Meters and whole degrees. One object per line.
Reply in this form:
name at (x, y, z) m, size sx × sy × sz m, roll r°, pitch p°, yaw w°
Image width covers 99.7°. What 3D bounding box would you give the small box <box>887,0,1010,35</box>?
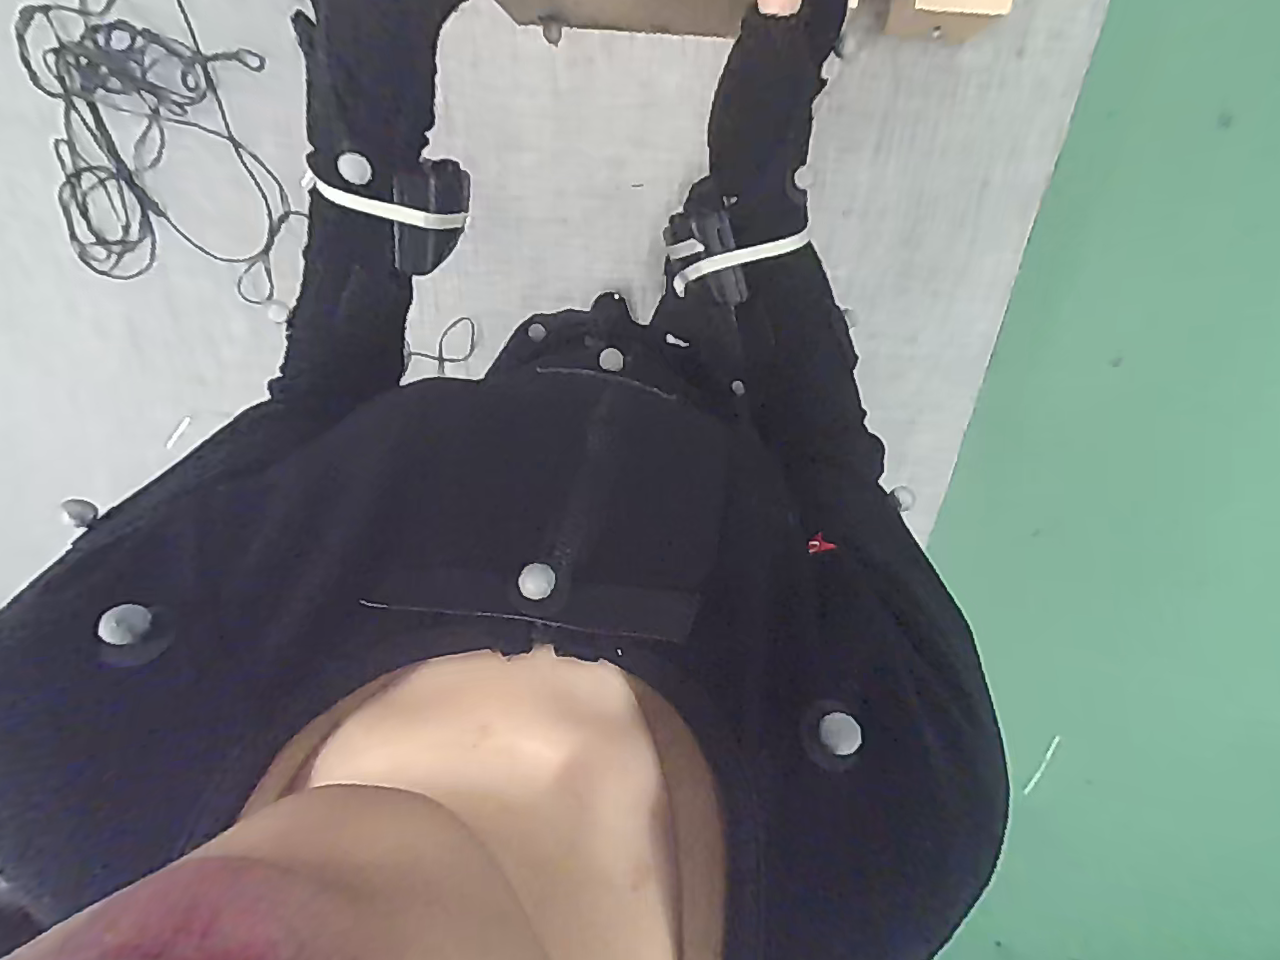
small box at (0.567, -0.933, 0.972) m, size 0.168 × 0.176 × 0.179 m, roll 5°, pitch 116°, yaw 1°
